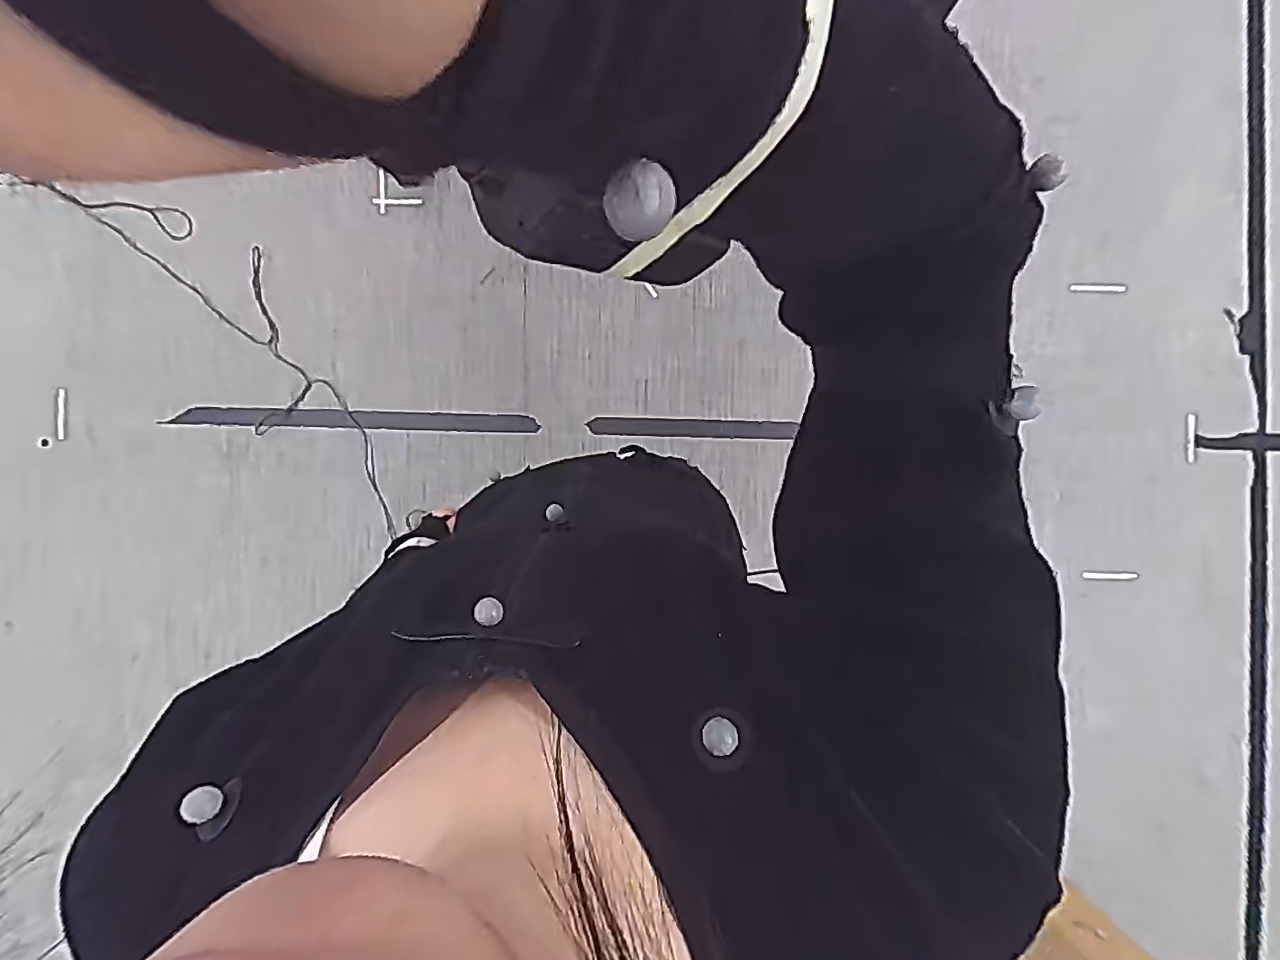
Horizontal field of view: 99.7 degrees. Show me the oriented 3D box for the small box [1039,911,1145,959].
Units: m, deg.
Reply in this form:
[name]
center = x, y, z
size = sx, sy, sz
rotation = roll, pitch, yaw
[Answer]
[small box]
center = 1.086, 1.180, 1.281
size = 0.168, 0.176, 0.179
rotation = 4, 90, -2
